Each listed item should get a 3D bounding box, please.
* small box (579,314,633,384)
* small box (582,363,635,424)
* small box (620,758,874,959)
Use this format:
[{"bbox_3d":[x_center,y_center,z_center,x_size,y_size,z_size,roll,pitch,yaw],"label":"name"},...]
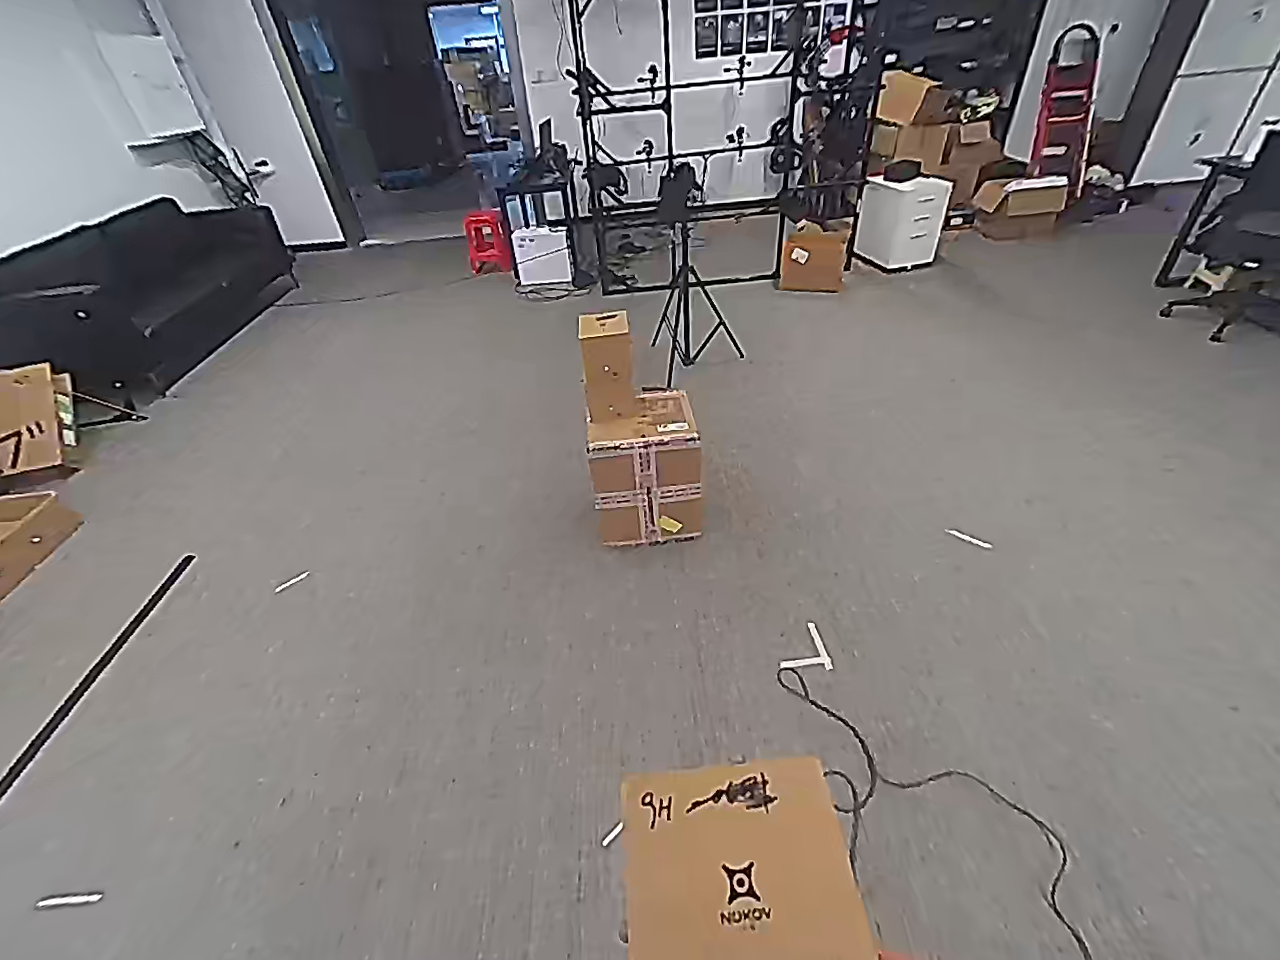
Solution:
[{"bbox_3d":[-0.116,-0.450,1.861,0.168,0.176,0.179,-7,41,1],"label":"small box"},{"bbox_3d":[-0.115,-0.326,1.969,0.168,0.176,0.179,-10,41,-2],"label":"small box"},{"bbox_3d":[0.077,0.351,0.440,0.168,0.176,0.179,-6,47,-1],"label":"small box"}]
